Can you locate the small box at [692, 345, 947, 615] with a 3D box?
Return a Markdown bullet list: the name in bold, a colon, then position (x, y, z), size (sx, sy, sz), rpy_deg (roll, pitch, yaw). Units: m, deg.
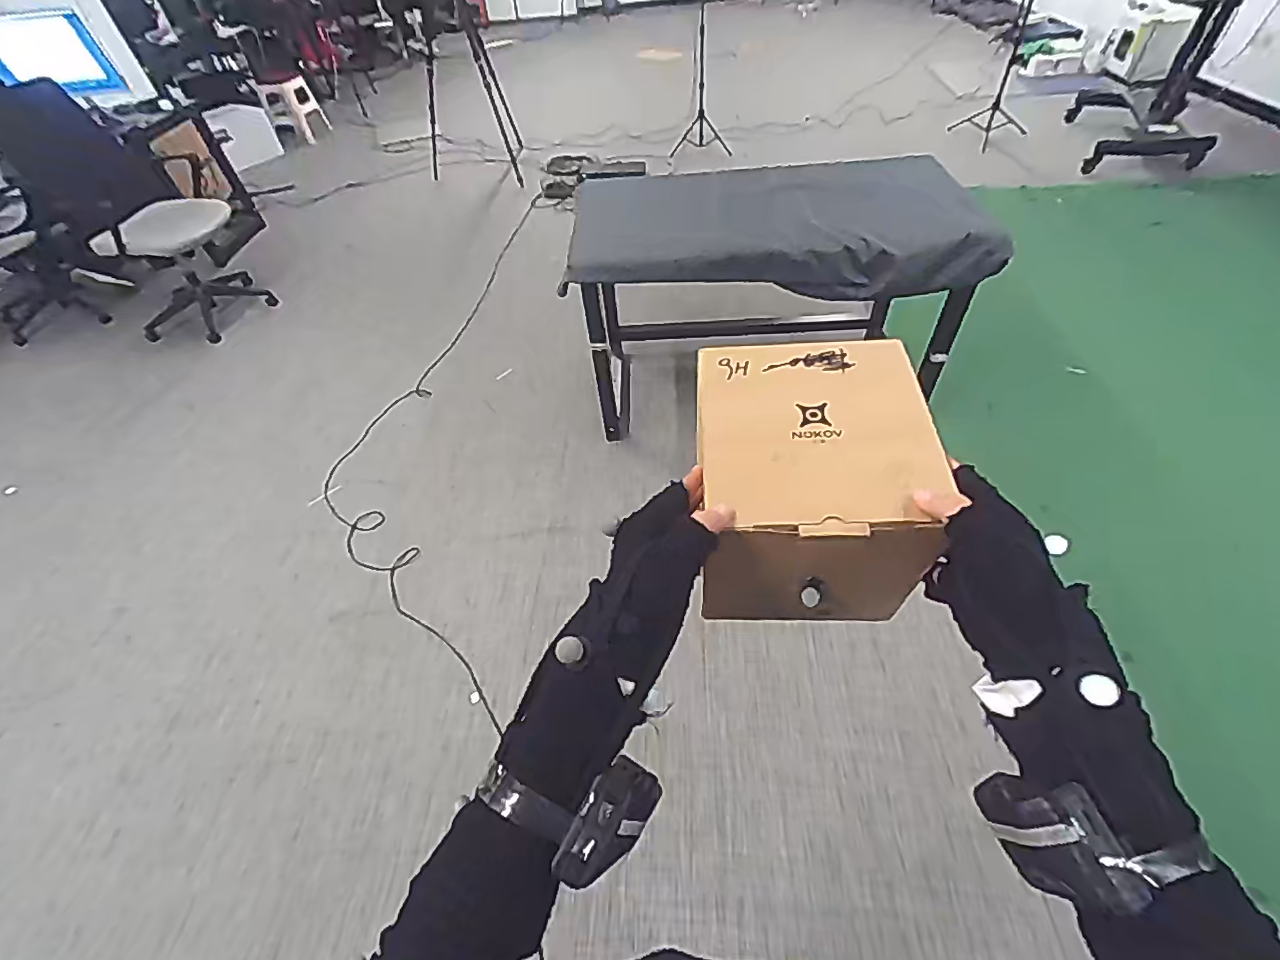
- **small box**: position (0.131, 0.009, 0.469), size (0.168, 0.176, 0.179), rpy_deg (-2, 56, 6)
